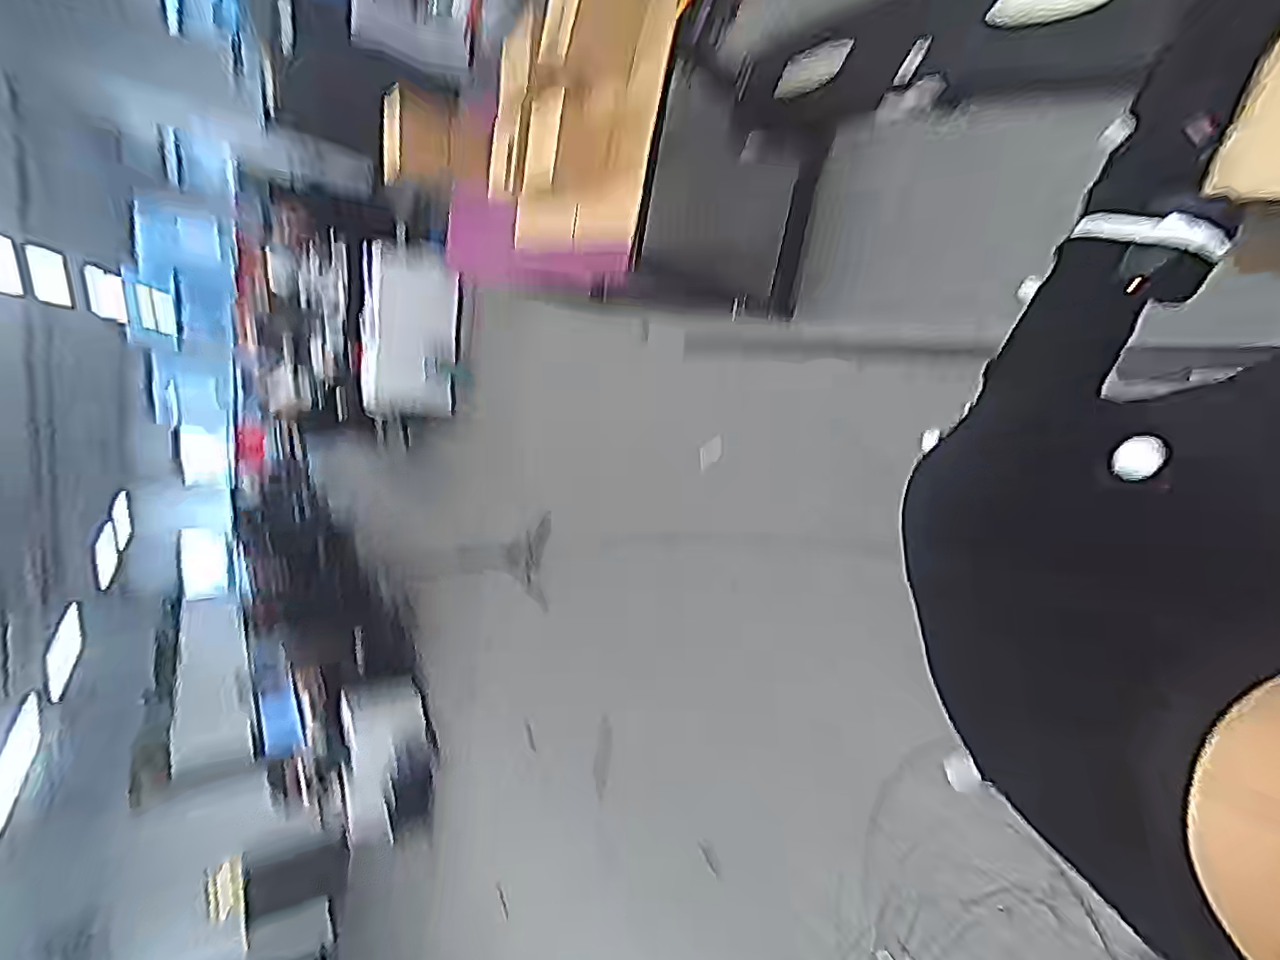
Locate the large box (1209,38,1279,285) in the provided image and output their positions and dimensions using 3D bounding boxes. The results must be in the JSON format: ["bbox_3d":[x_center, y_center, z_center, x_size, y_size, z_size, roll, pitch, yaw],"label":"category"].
[{"bbox_3d":[0.663,-0.276,0.300,0.408,0.320,0.320,30,117,43],"label":"large box"}]
